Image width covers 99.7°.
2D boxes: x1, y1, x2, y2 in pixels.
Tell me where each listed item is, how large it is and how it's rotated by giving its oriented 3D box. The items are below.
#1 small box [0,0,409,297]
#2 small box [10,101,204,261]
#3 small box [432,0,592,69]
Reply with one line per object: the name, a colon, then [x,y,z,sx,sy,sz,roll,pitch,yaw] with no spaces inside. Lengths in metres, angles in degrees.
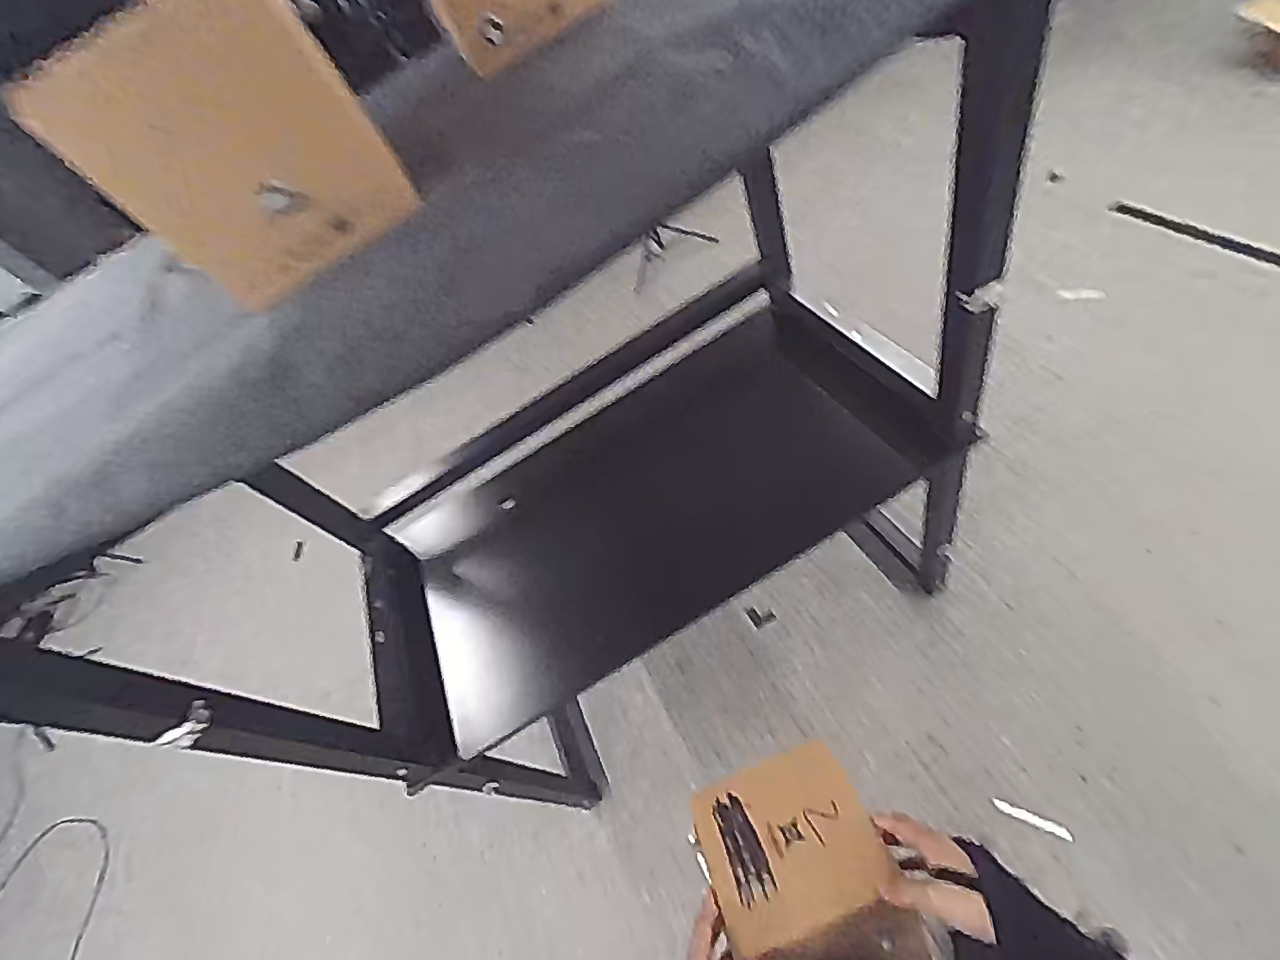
small box: [-0.315,-0.280,0.434,0.168,0.176,0.179,-33,50,0]
small box: [-0.465,-0.372,0.571,0.179,0.176,0.168,-28,51,4]
small box: [-0.163,-0.580,0.574,0.168,0.176,0.179,-30,50,3]
